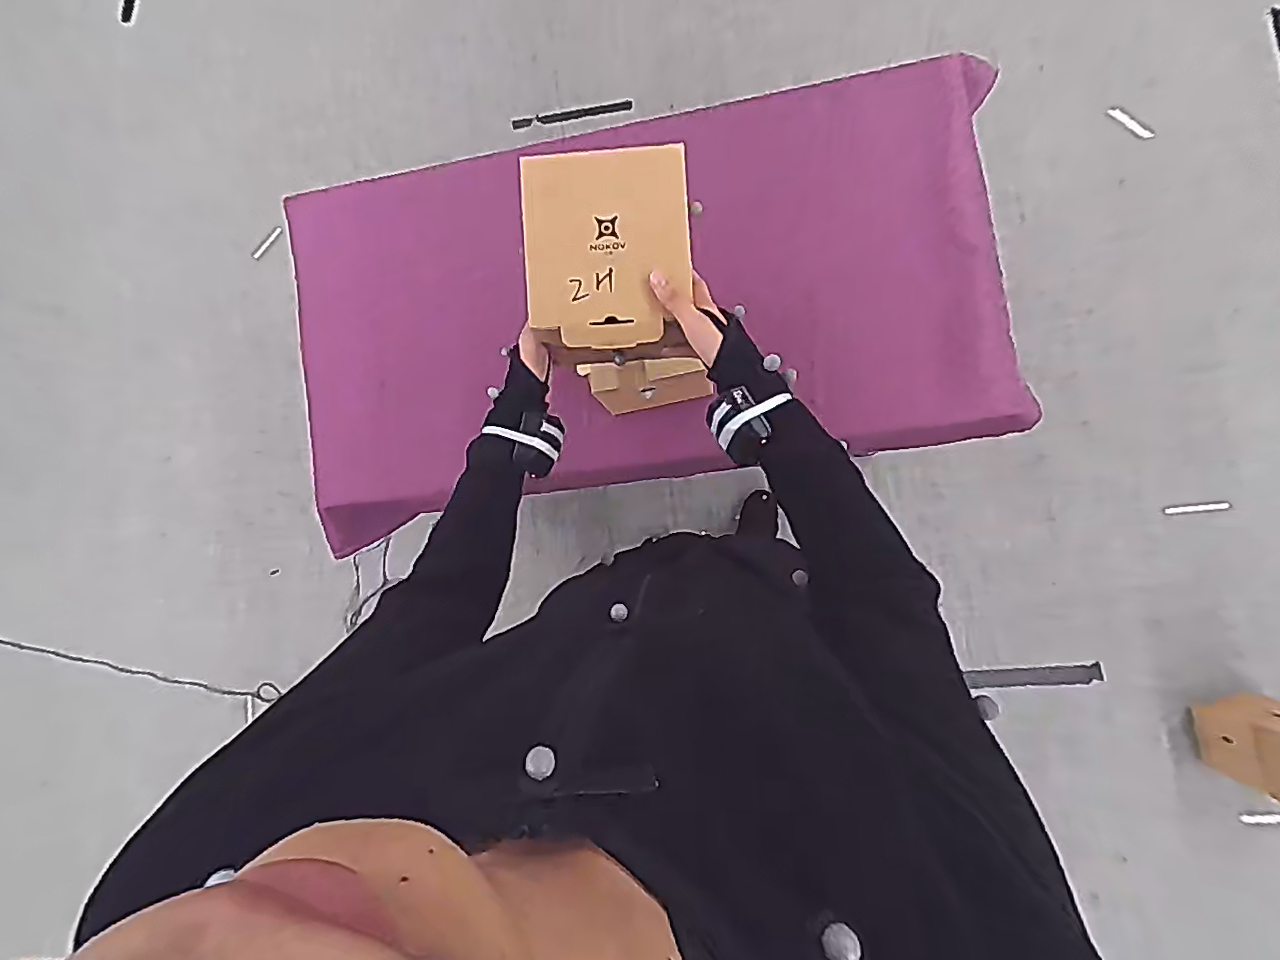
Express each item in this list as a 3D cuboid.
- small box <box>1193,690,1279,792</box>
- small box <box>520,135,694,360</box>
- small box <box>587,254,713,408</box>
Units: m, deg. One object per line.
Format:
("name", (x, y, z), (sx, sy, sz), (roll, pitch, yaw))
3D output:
("small box", (1.519, 0.631, 1.322), (0.179, 0.176, 0.168), (-11, 86, 7))
("small box", (-0.030, -0.243, 0.603), (0.168, 0.176, 0.179), (-3, 90, 3))
("small box", (0.014, -0.218, 0.837), (0.179, 0.176, 0.168), (-11, 85, 6))
